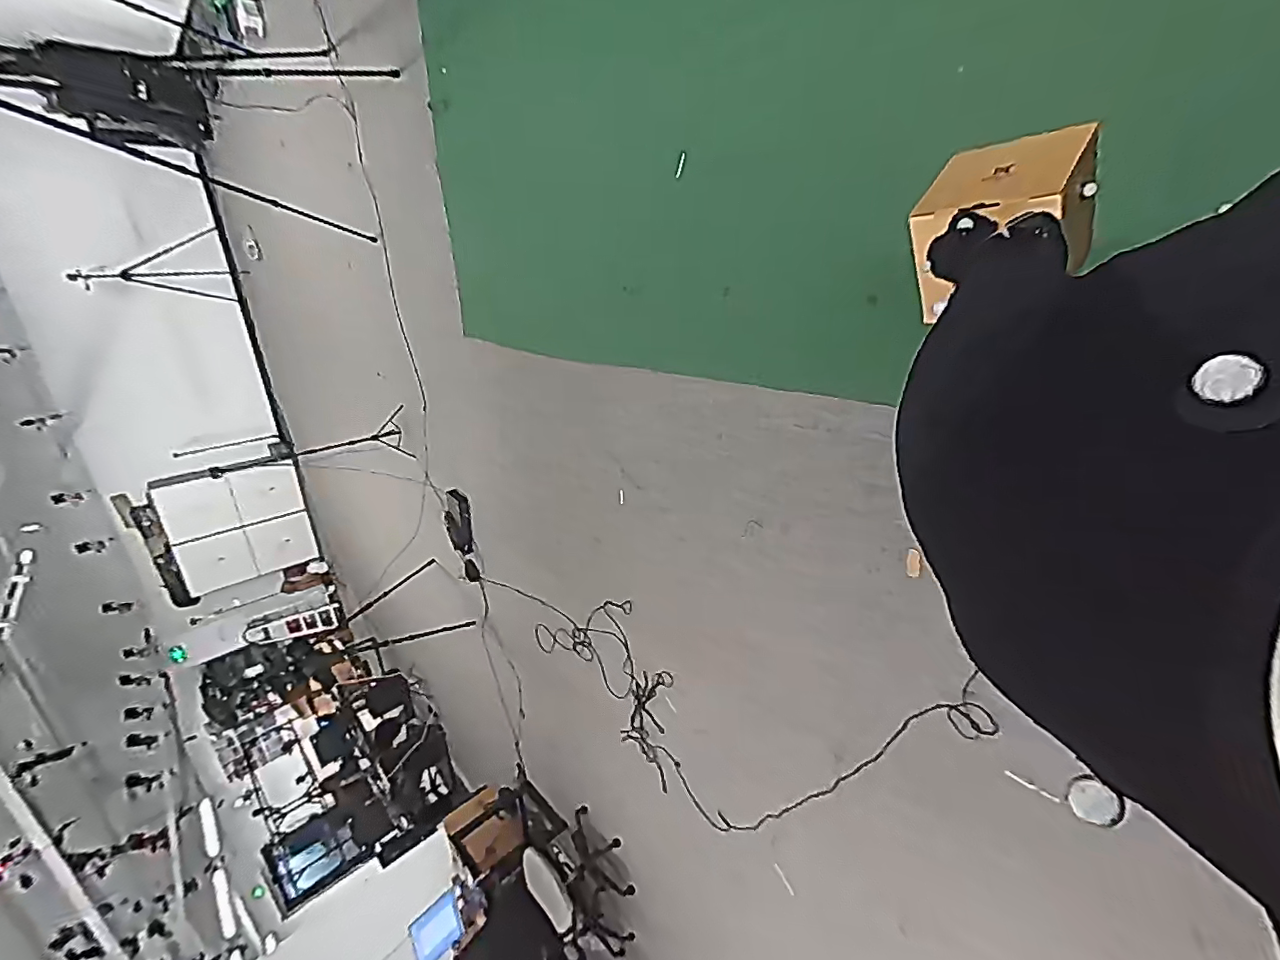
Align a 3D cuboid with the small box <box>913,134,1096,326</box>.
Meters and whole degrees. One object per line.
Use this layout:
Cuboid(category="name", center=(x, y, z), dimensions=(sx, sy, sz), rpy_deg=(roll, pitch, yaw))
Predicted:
Cuboid(category="small box", center=(0.505, -0.334, 0.751), dimensions=(0.168, 0.179, 0.176), rpy_deg=(12, 146, 45))
